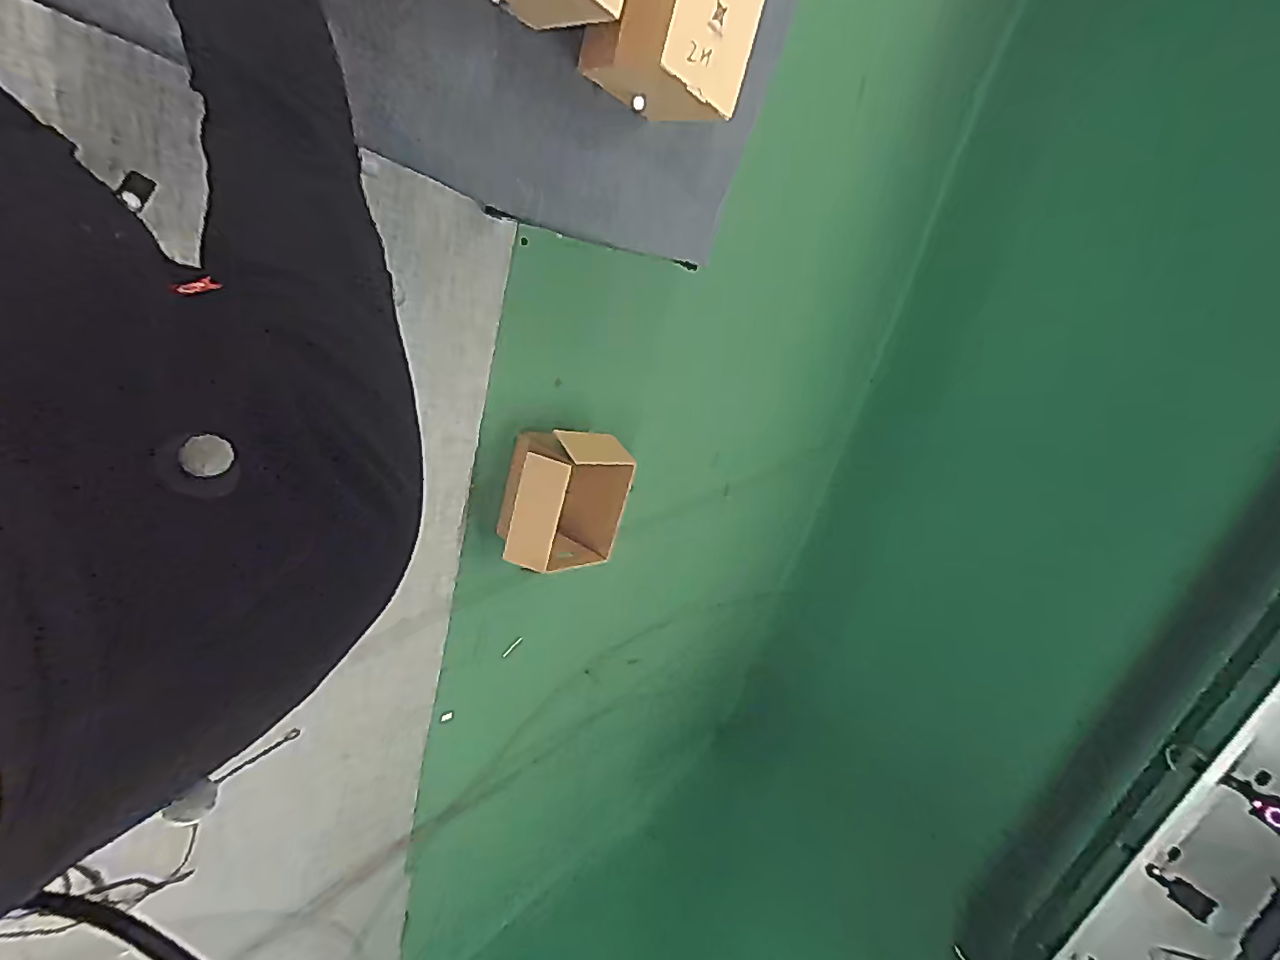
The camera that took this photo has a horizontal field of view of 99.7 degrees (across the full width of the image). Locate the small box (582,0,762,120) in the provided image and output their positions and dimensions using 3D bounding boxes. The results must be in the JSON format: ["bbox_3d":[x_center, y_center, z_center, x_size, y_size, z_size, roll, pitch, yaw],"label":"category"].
[{"bbox_3d":[0.041,-0.637,0.758,0.168,0.176,0.179,-4,117,-48],"label":"small box"}]
